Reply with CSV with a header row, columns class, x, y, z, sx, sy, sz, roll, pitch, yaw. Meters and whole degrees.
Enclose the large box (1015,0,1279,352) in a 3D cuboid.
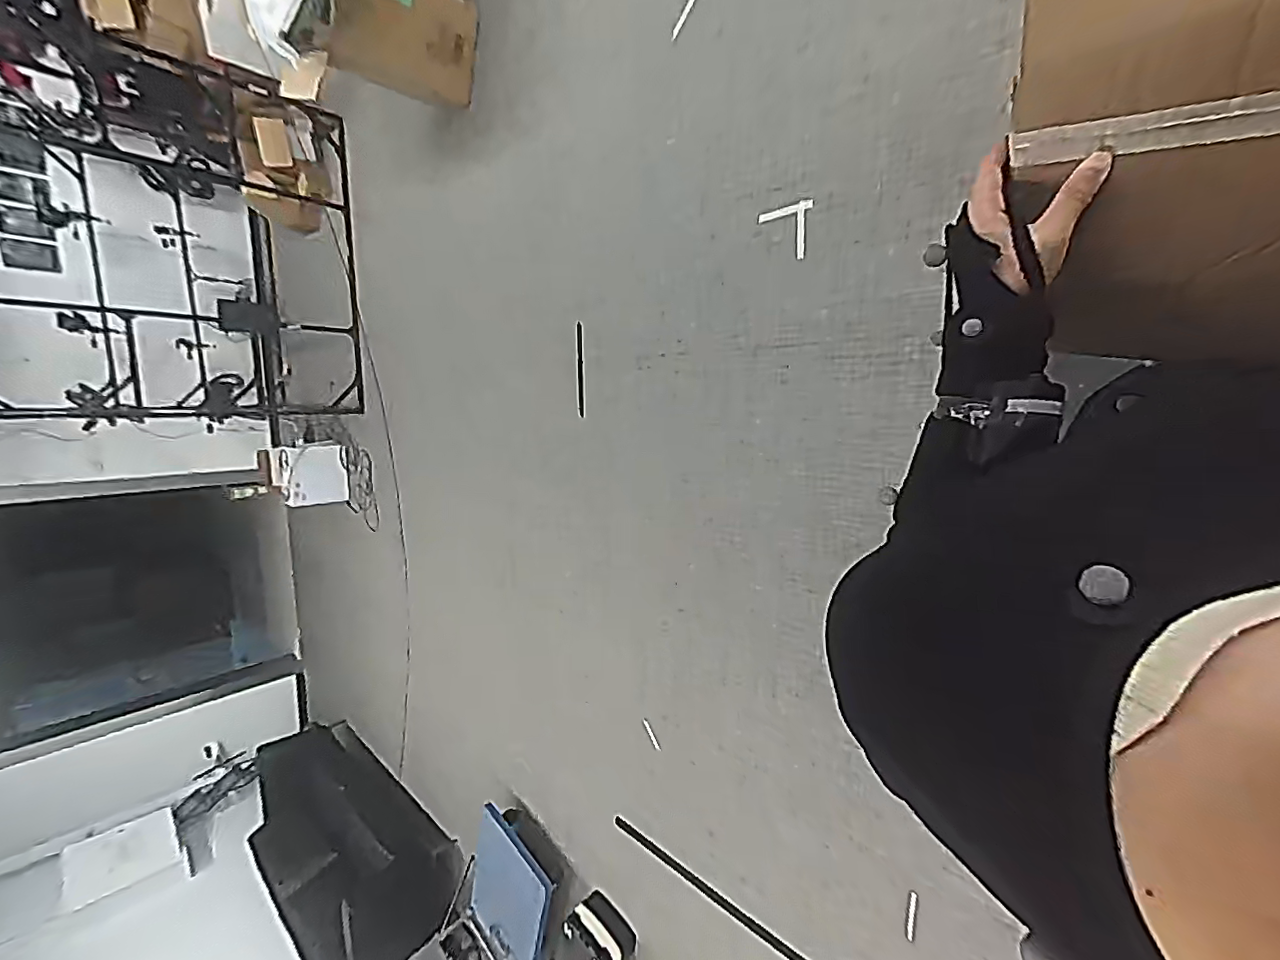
class,x,y,z,sx,sy,sz,roll,pitch,yaw
large box,0.491,-0.281,0.297,0.408,0.320,0.320,18,145,43
